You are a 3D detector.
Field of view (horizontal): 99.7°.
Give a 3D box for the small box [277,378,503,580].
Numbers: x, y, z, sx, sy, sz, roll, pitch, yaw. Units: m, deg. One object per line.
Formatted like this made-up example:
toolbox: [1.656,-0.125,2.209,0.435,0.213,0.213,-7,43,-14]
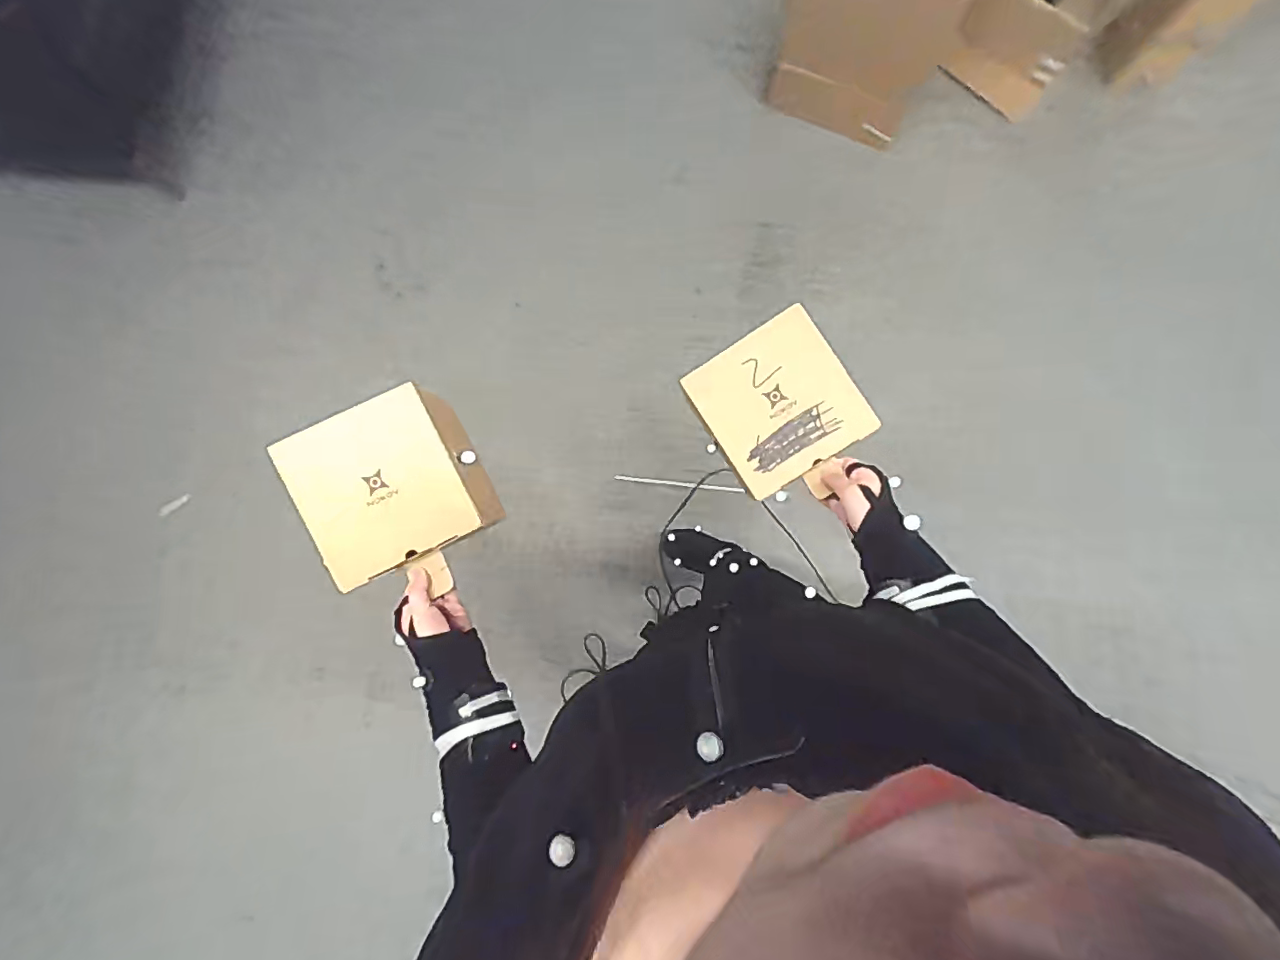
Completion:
small box: [-0.287,-0.001,0.663,0.168,0.176,0.179,-25,92,-5]
